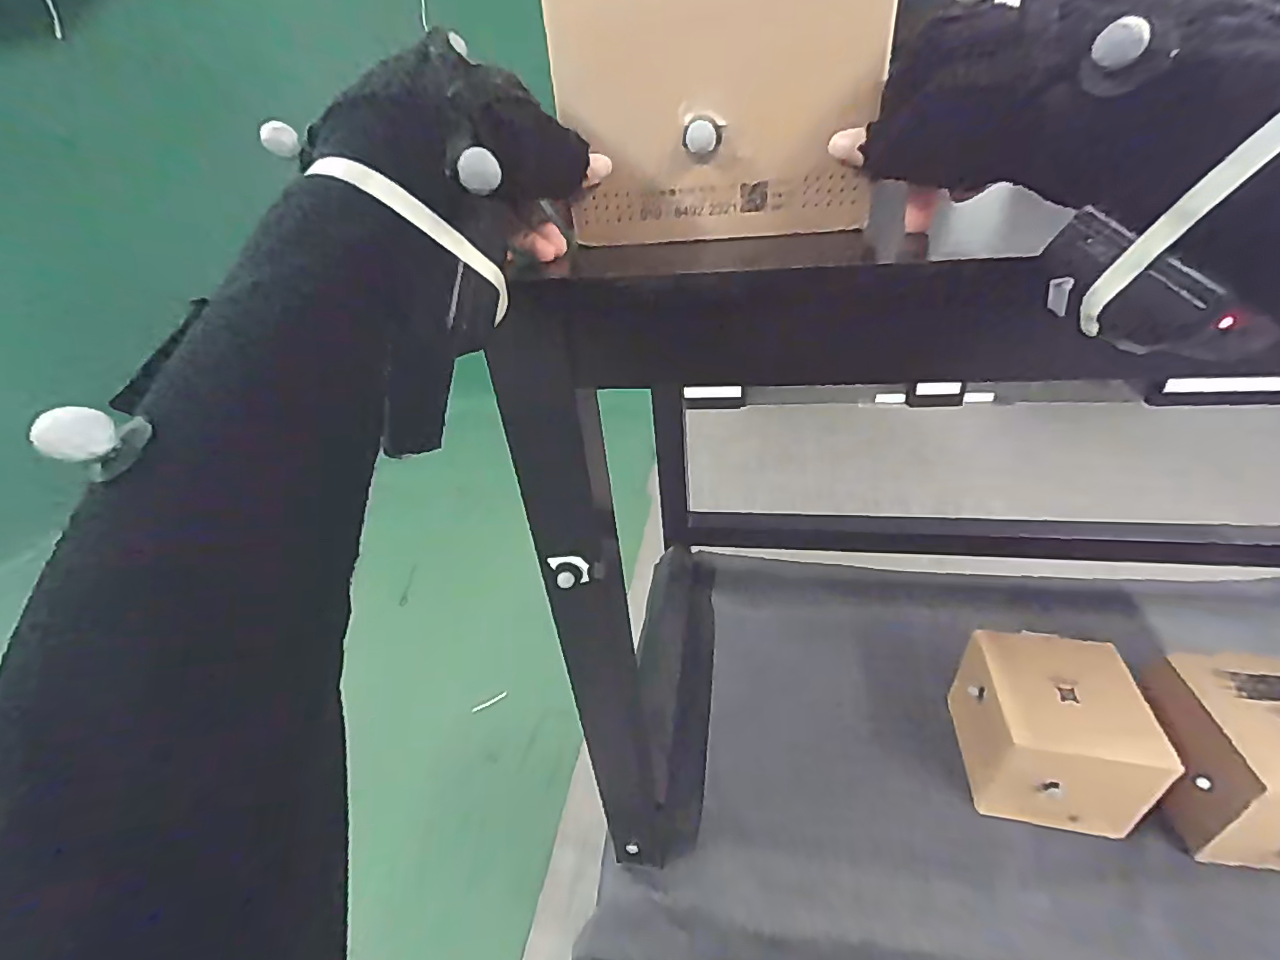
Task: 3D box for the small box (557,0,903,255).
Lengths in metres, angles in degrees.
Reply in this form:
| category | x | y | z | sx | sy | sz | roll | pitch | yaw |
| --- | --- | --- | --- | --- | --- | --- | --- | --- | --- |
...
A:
| category | x | y | z | sx | sy | sz | roll | pitch | yaw |
| --- | --- | --- | --- | --- | --- | --- | --- | --- | --- |
| small box | 0.050 | -0.244 | 0.333 | 0.168 | 0.176 | 0.179 | 0 | 35 | 9 |

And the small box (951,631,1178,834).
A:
| category | x | y | z | sx | sy | sz | roll | pitch | yaw |
| --- | --- | --- | --- | --- | --- | --- | --- | --- | --- |
| small box | 0.536 | 0.330 | 0.716 | 0.168 | 0.176 | 0.179 | 3 | 34 | 14 |
